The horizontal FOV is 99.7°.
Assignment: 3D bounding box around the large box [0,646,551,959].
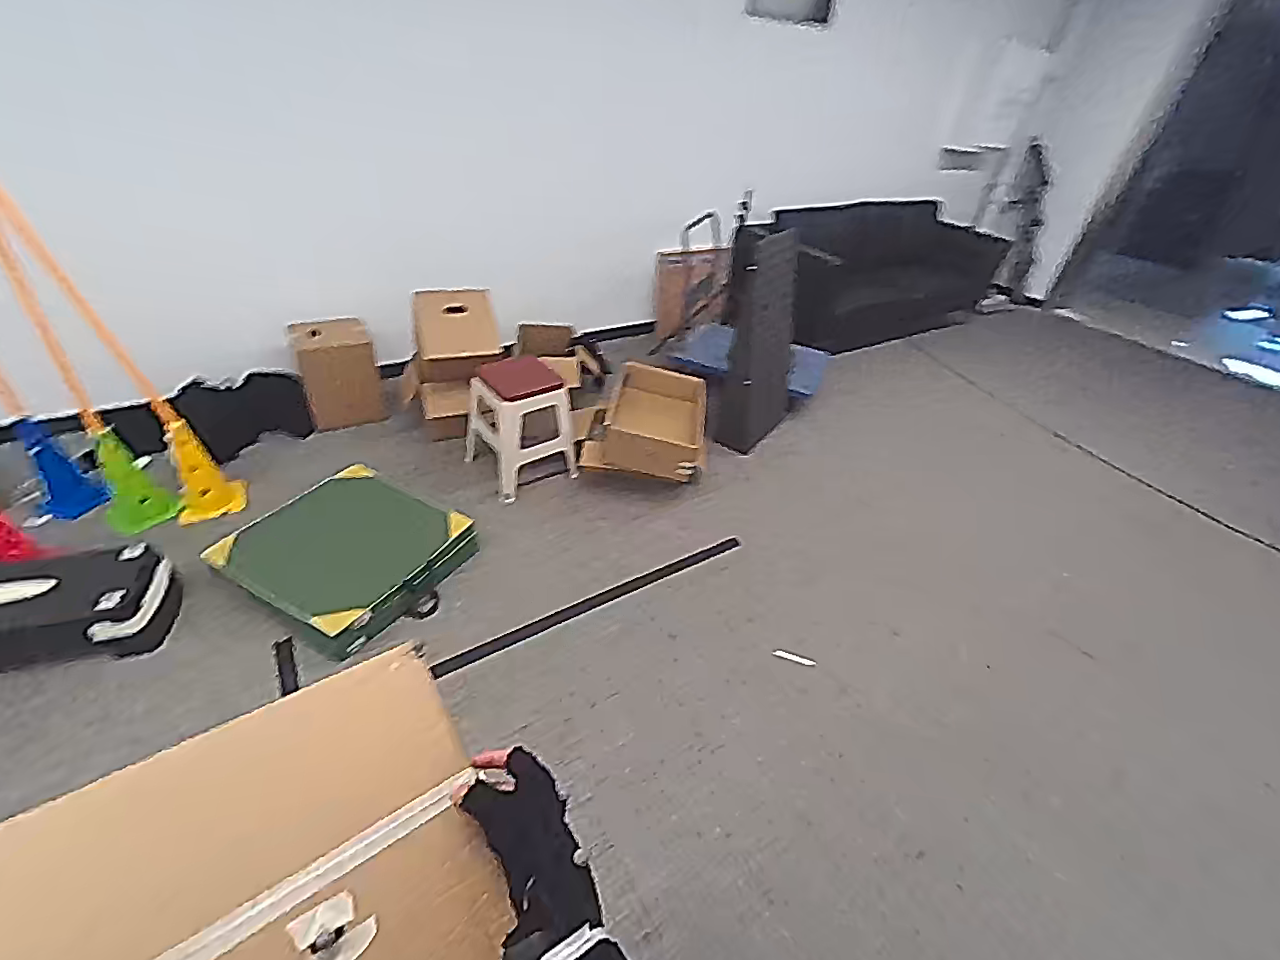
[{"bbox_3d":[-0.349,0.443,0.524,0.408,0.320,0.320,-20,58,-32],"label":"large box"}]
